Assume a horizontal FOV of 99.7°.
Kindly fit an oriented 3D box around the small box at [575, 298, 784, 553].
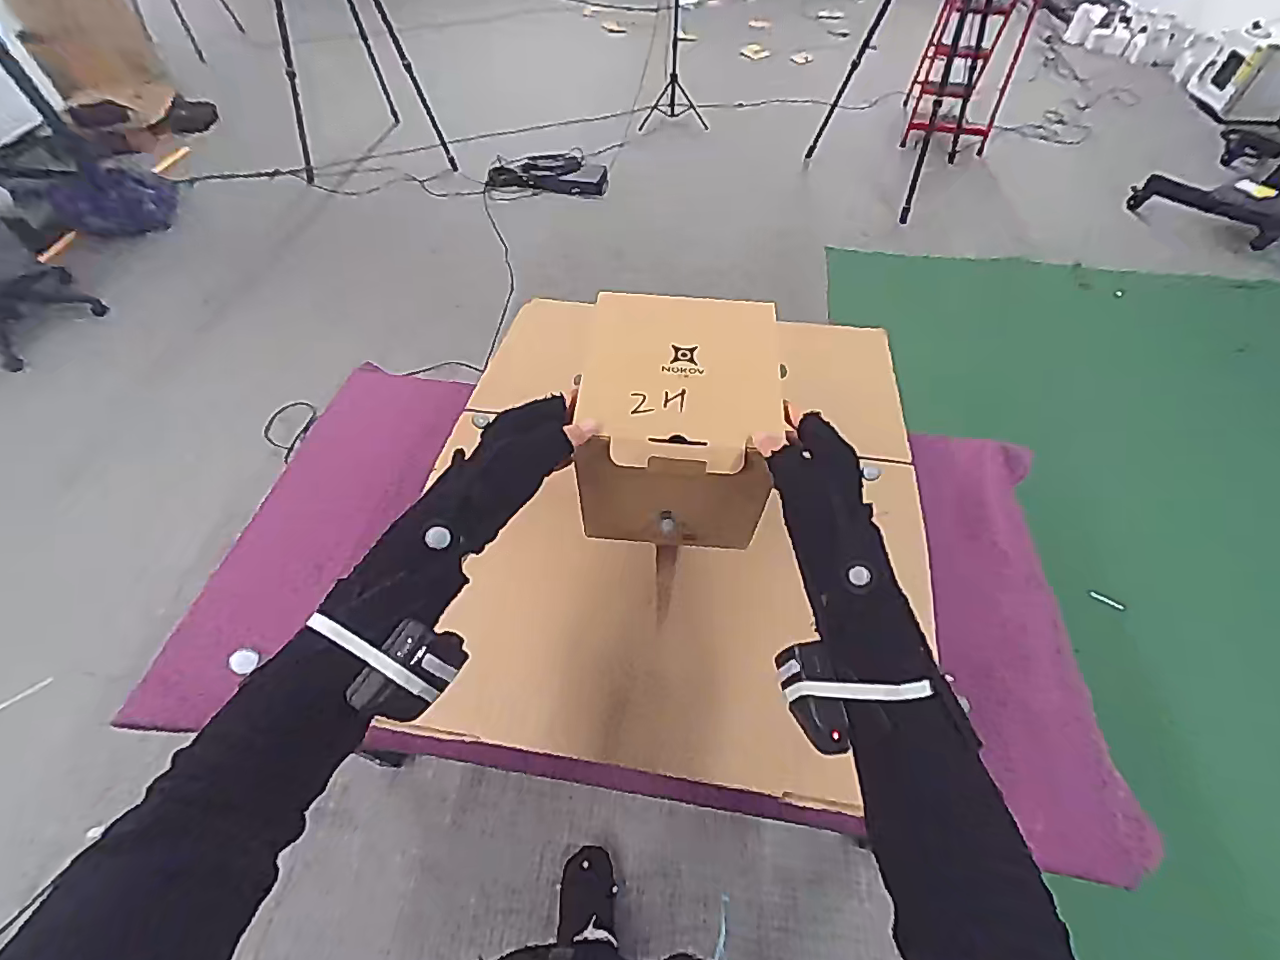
[{"bbox_3d":[0.037,-0.049,0.527,0.168,0.176,0.179,4,56,3],"label":"small box"}]
